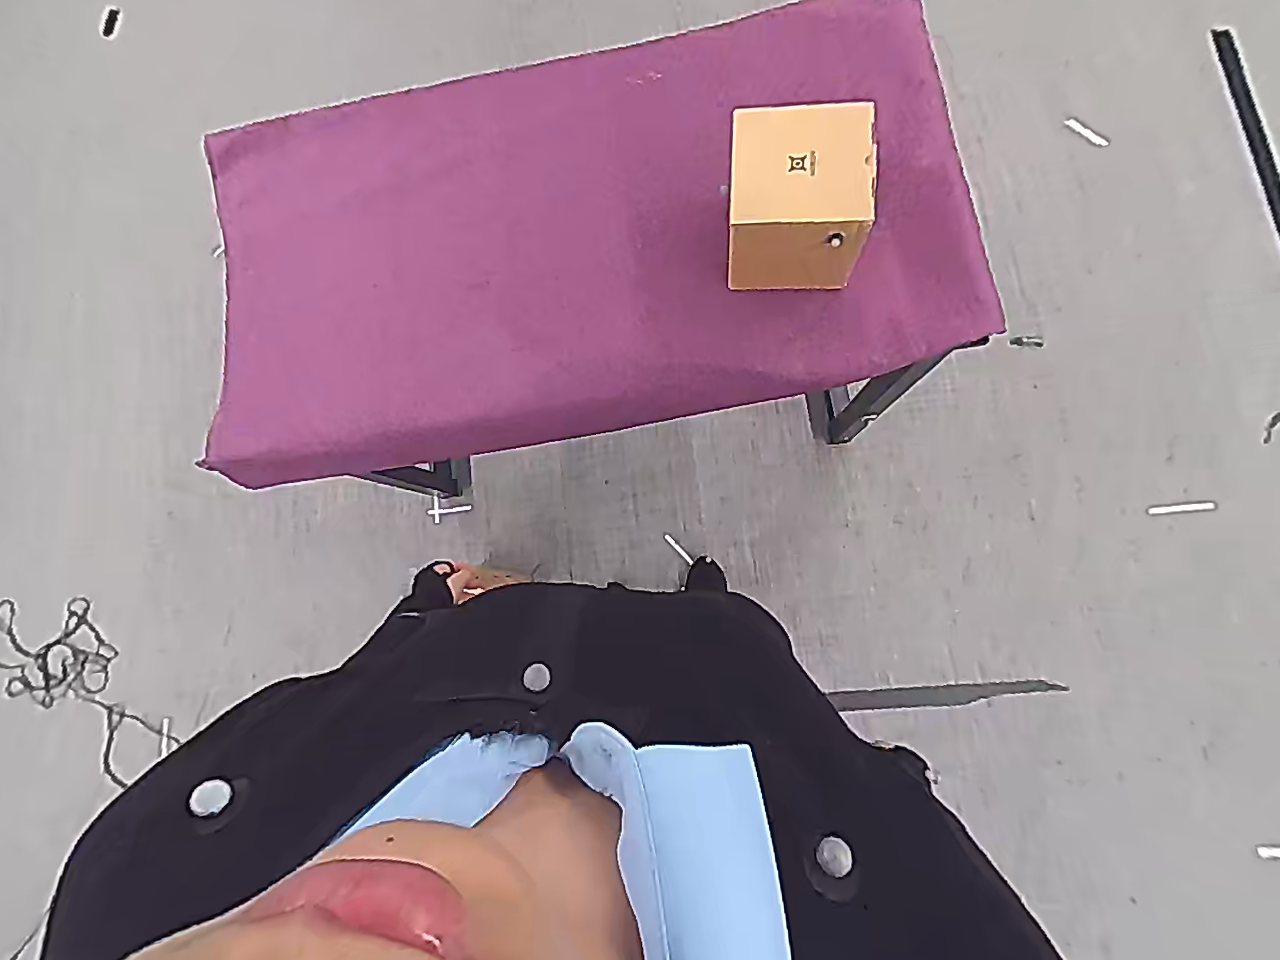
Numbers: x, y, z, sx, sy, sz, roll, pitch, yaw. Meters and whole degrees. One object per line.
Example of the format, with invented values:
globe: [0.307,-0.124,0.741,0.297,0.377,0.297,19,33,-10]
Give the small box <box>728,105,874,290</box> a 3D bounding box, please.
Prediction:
small box: [0.214,-0.382,0.757,0.179,0.176,0.168,2,81,8]

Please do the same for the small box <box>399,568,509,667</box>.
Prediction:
small box: [-0.435,0.320,1.299,0.168,0.176,0.179,21,85,9]
